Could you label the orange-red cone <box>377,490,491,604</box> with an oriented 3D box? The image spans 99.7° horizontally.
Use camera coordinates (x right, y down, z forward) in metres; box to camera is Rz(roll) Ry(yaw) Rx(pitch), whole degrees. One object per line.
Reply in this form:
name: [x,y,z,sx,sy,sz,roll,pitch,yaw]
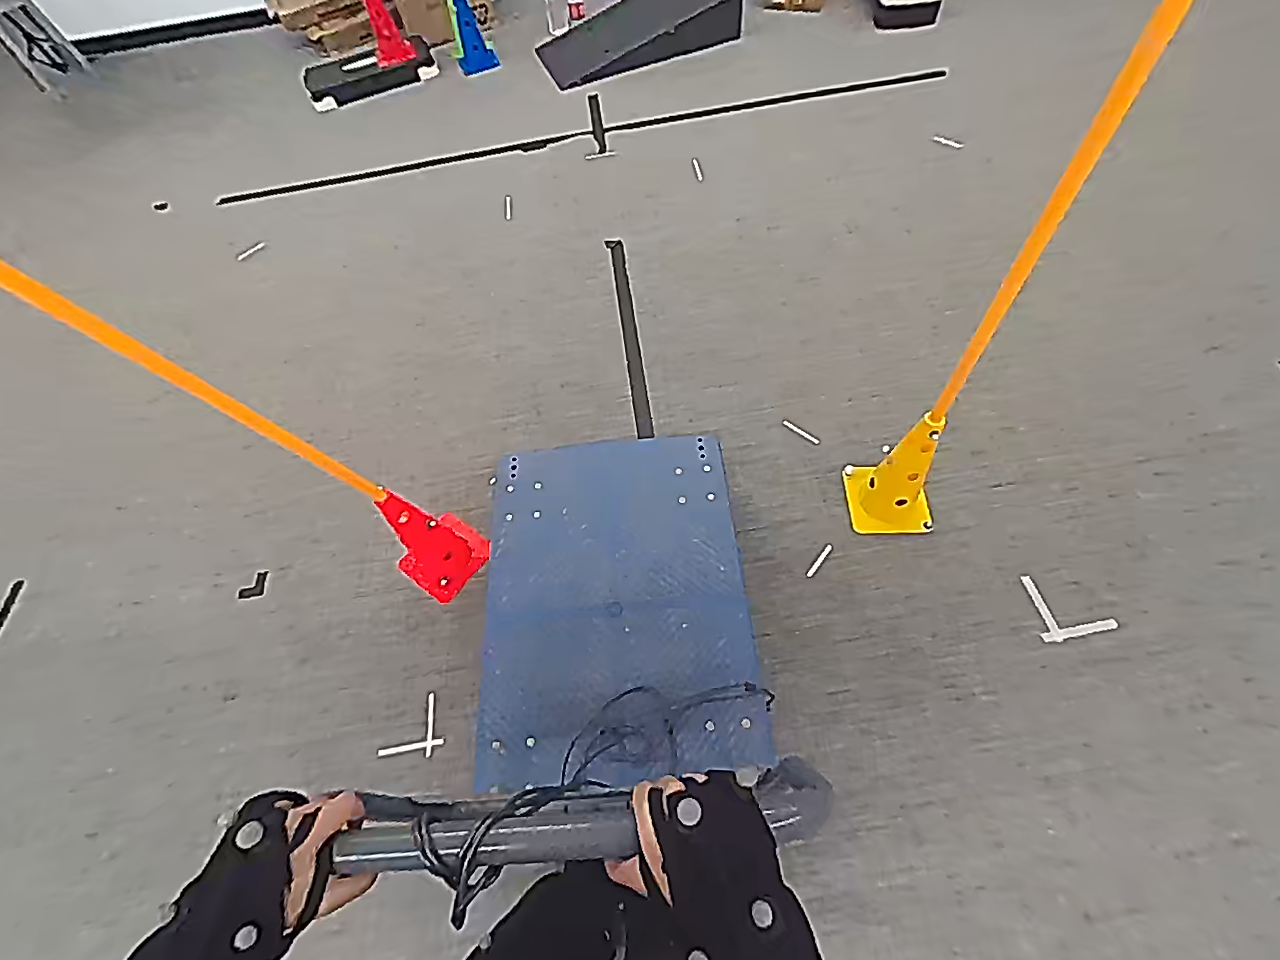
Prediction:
orange-red cone: [-0.536,0.124,1.309,0.198,0.360,0.199,33,67,21]
